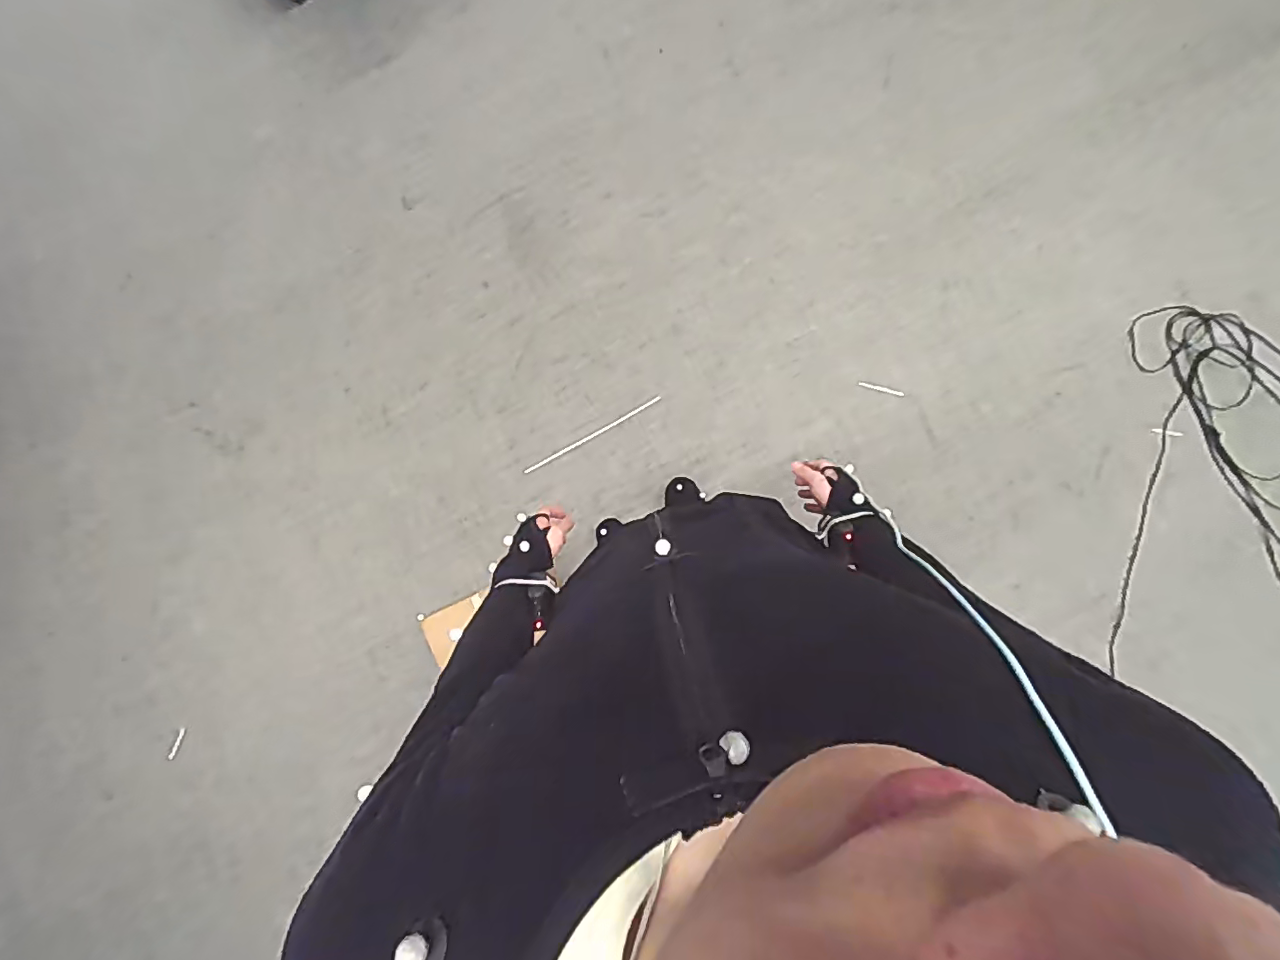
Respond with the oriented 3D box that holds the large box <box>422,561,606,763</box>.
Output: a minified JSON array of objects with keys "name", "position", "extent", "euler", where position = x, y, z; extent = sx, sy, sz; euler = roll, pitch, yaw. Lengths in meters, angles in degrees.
[{"name":"large box","position":[-0.326,0.477,1.504],"extent":[0.320,0.320,0.408],"euler":[-26,85,-1]}]
